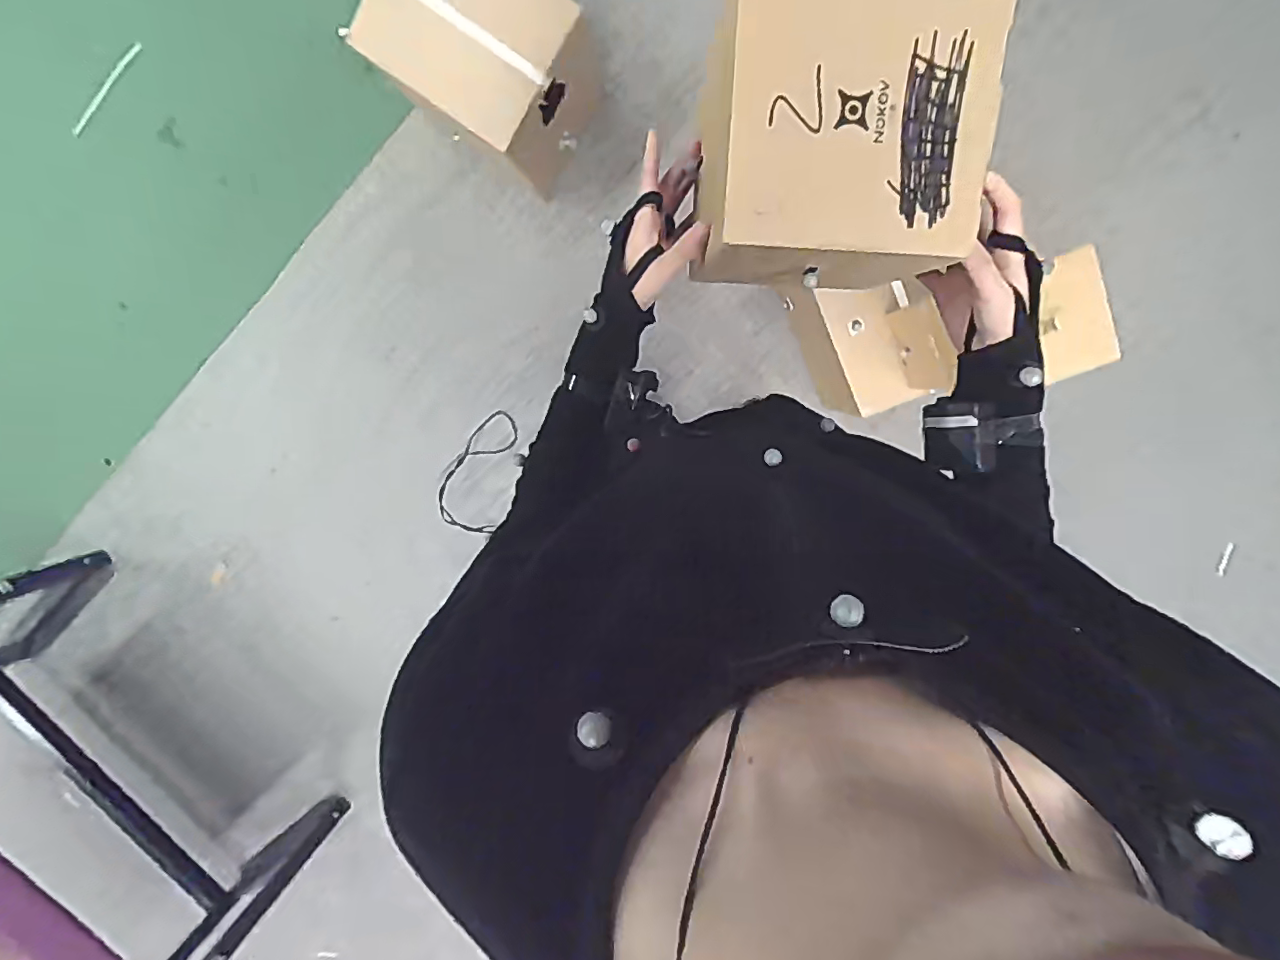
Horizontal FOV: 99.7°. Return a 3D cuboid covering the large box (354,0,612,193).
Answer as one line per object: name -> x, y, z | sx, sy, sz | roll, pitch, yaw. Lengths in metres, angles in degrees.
large box -> -0.328, -0.943, 1.230 | 0.408, 0.320, 0.320 | 35, 102, 0

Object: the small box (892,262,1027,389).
small box -> 0.609, -0.281, 1.013 | 0.179, 0.176, 0.168 | -22, 98, 8

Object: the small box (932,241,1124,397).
small box -> 0.599, -0.244, 0.855 | 0.168, 0.176, 0.179 | -20, 98, 8
